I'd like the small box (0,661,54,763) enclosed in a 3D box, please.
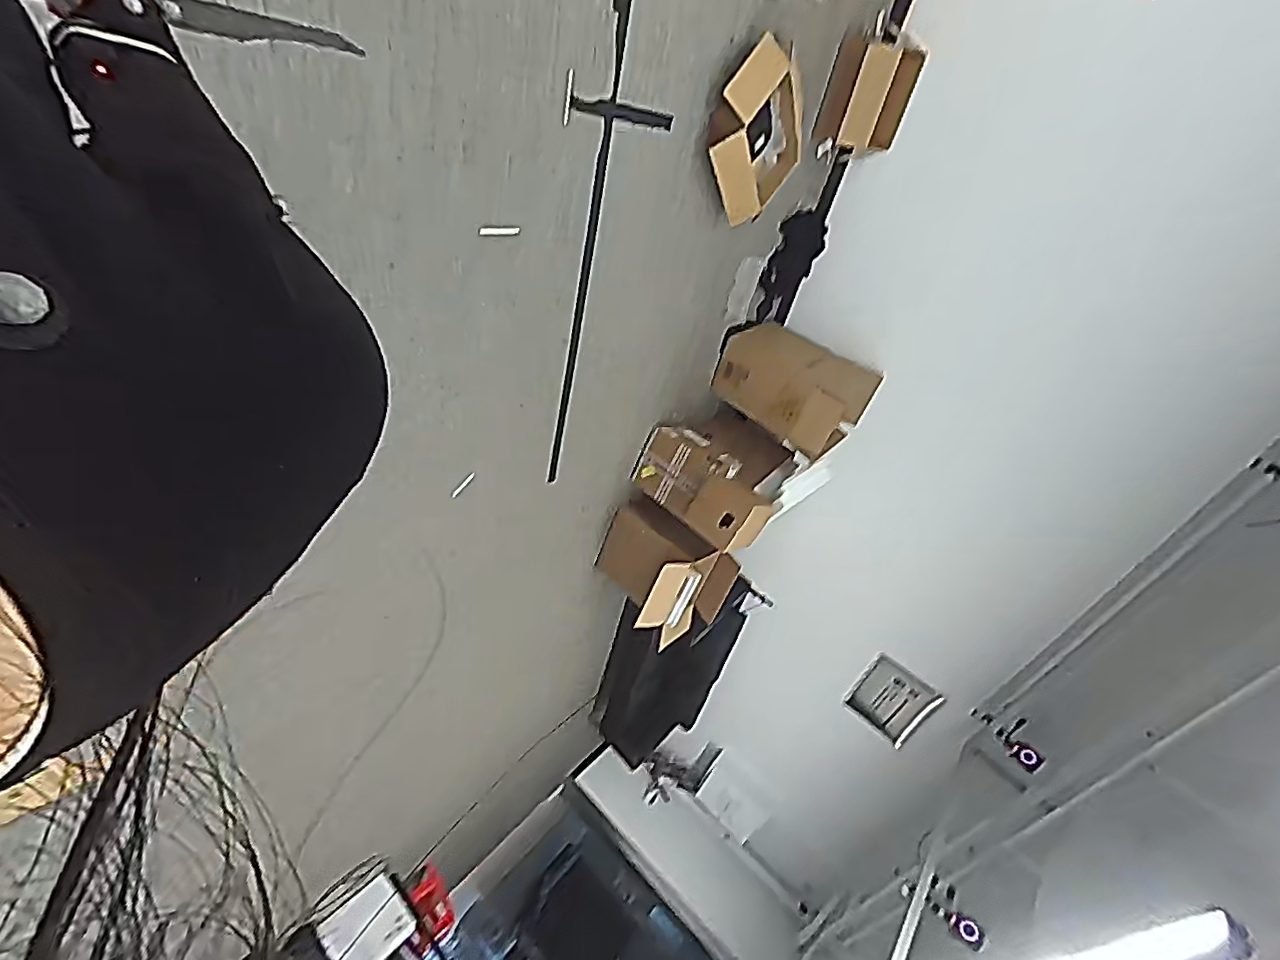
[{"bbox_3d":[-1.561,0.563,1.288,0.168,0.176,0.179,-24,142,-45],"label":"small box"}]
